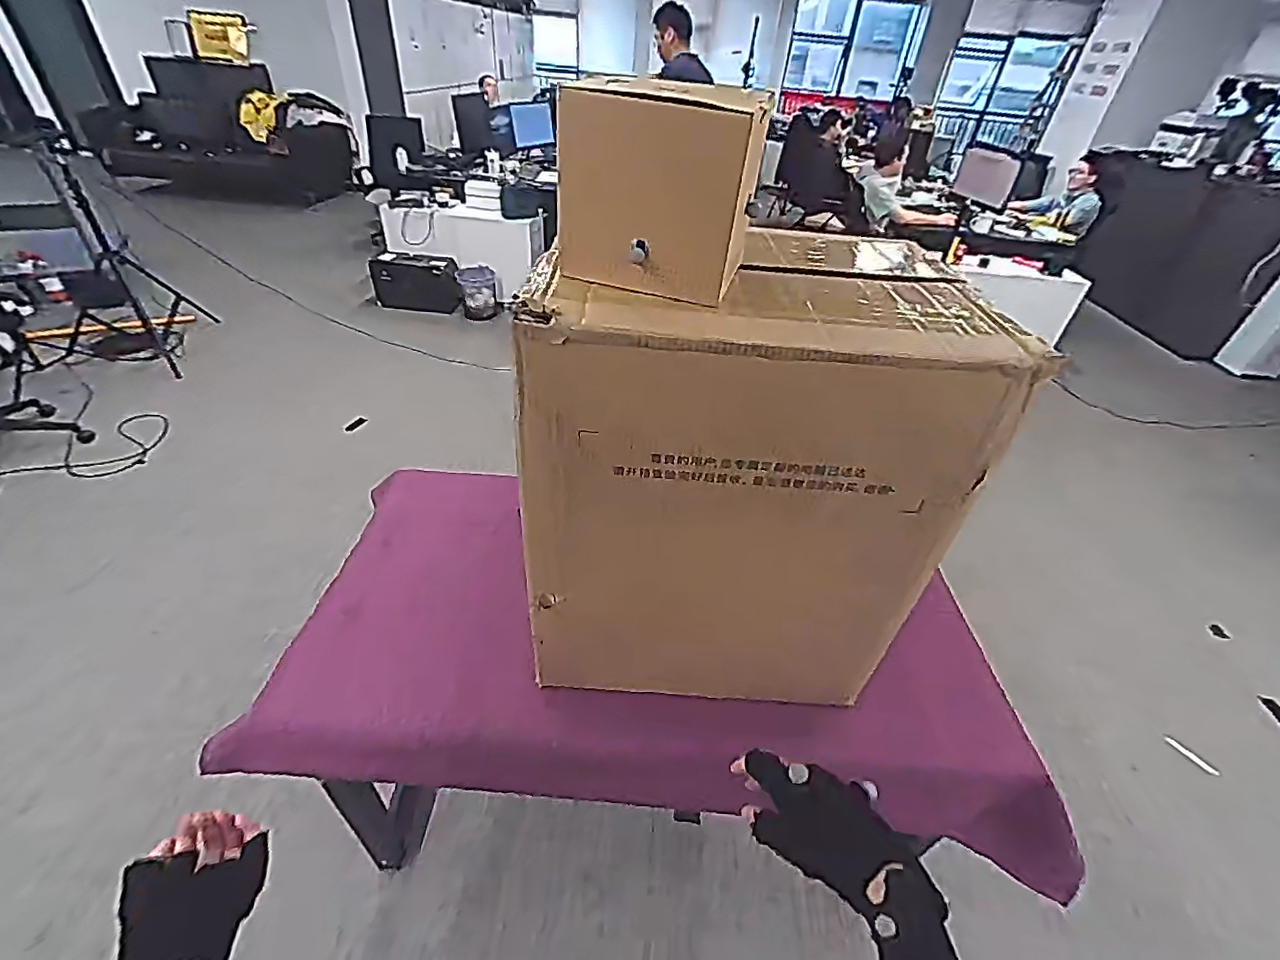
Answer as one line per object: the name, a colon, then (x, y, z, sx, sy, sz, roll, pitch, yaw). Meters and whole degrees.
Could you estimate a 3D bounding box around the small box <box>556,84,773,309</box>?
small box: (0.025, -0.296, 0.566, 0.179, 0.176, 0.168, 15, 40, 10)
